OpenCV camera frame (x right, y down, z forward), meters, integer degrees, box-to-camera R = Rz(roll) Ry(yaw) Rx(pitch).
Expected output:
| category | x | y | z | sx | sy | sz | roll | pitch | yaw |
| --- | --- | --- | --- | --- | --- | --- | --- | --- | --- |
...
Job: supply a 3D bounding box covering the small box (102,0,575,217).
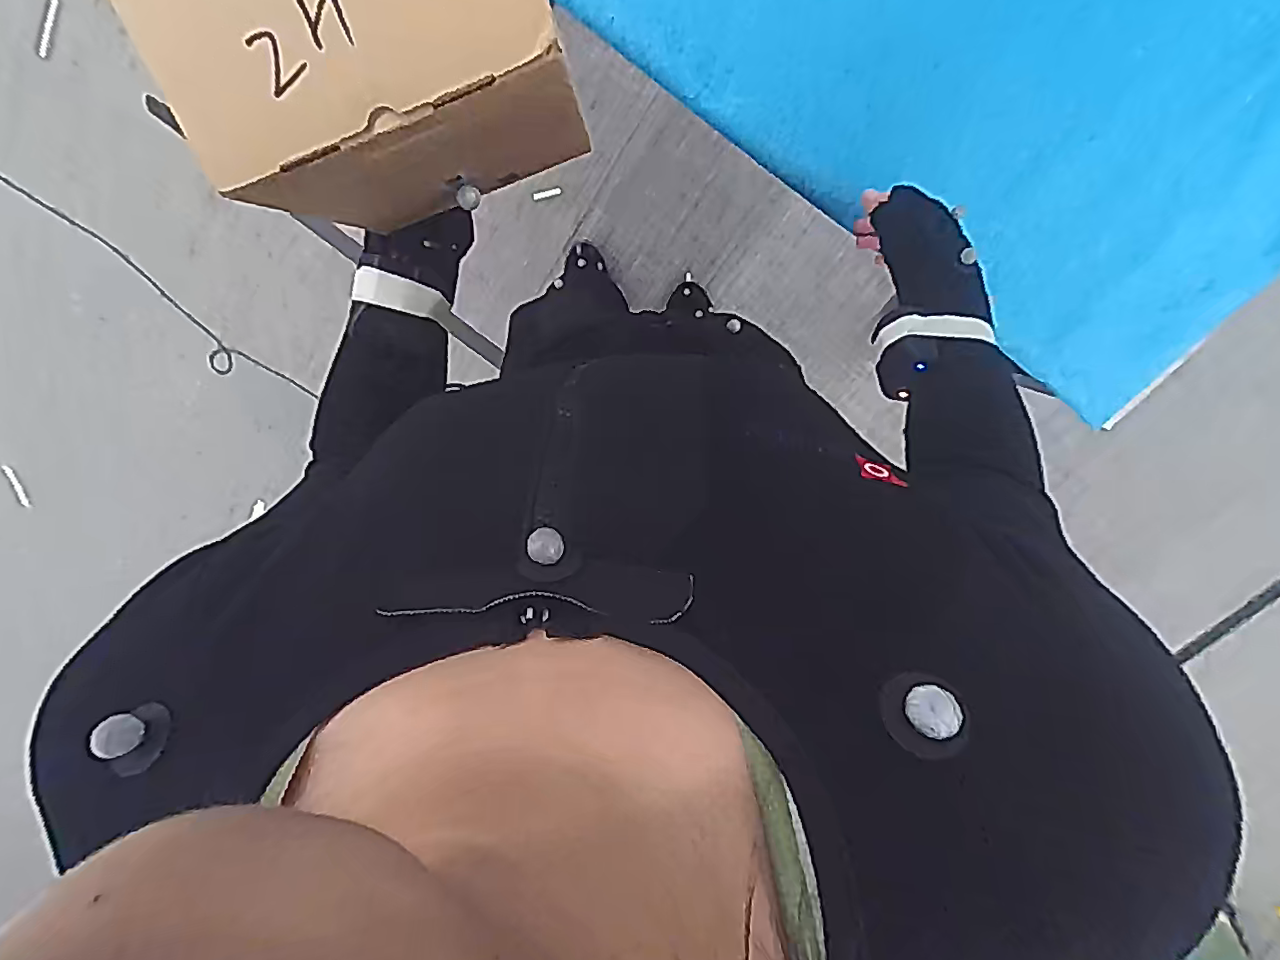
| category | x | y | z | sx | sy | sz | roll | pitch | yaw |
| --- | --- | --- | --- | --- | --- | --- | --- | --- | --- |
| small box | -0.141 | -0.255 | 0.281 | 0.168 | 0.176 | 0.179 | -14 | 111 | 6 |
